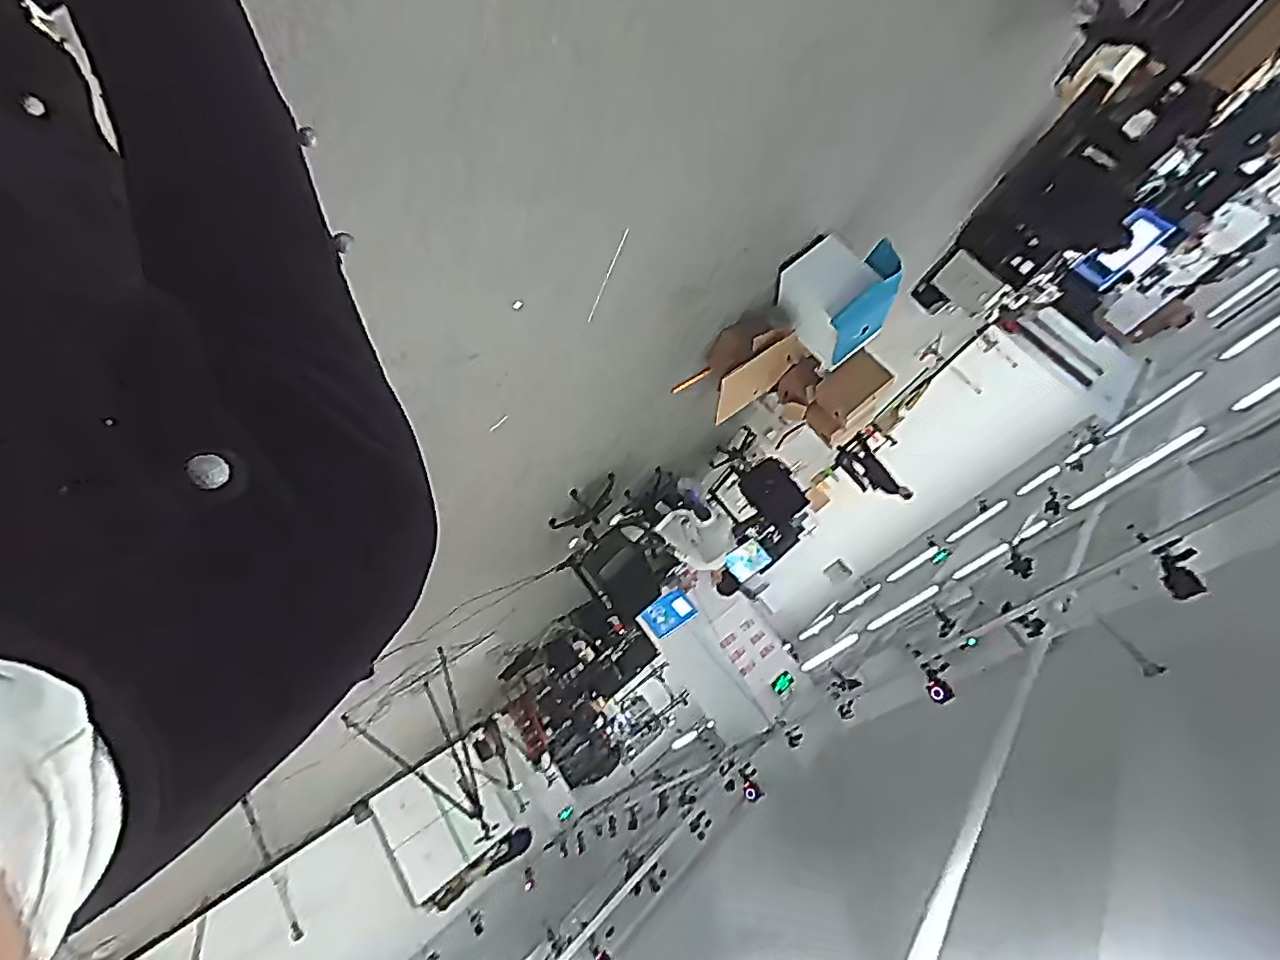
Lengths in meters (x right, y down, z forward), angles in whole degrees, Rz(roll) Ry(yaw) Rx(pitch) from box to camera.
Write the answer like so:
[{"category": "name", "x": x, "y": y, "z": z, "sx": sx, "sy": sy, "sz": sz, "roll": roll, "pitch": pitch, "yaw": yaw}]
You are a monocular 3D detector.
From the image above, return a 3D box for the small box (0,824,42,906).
[{"category": "small box", "x": -1.827, "y": 1.099, "z": 1.506, "sx": 0.168, "sy": 0.176, "sz": 0.179, "roll": -22, "pitch": 157, "yaw": -43}]
